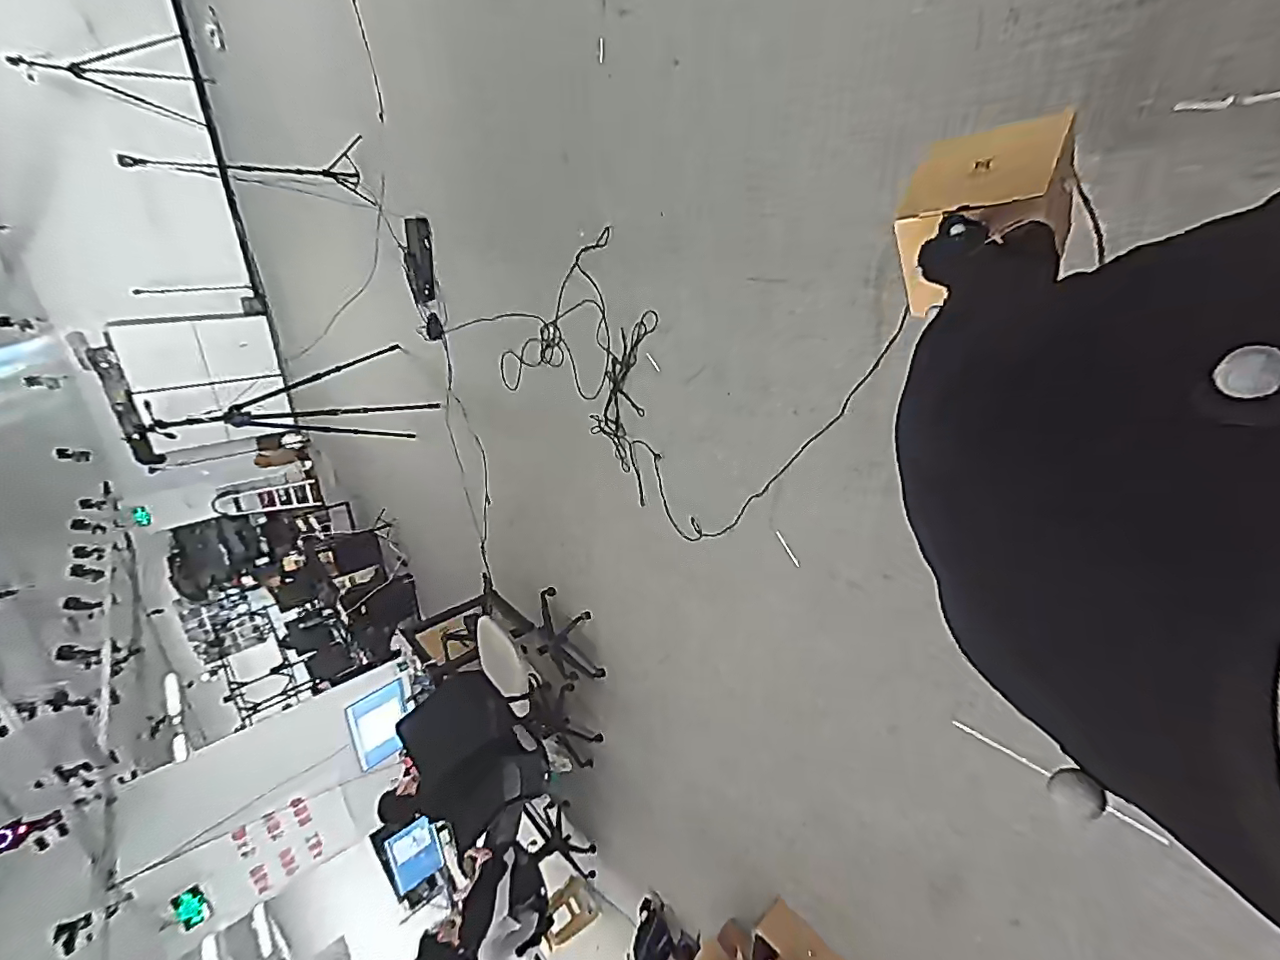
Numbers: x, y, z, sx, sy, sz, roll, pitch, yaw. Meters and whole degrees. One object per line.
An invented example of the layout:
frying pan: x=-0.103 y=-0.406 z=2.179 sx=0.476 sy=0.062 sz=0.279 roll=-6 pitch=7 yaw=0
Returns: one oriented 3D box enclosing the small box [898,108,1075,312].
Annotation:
small box: x=0.481 y=-0.360 z=0.749 sx=0.168 sy=0.179 sz=0.176 roll=9 pitch=151 yaw=43
